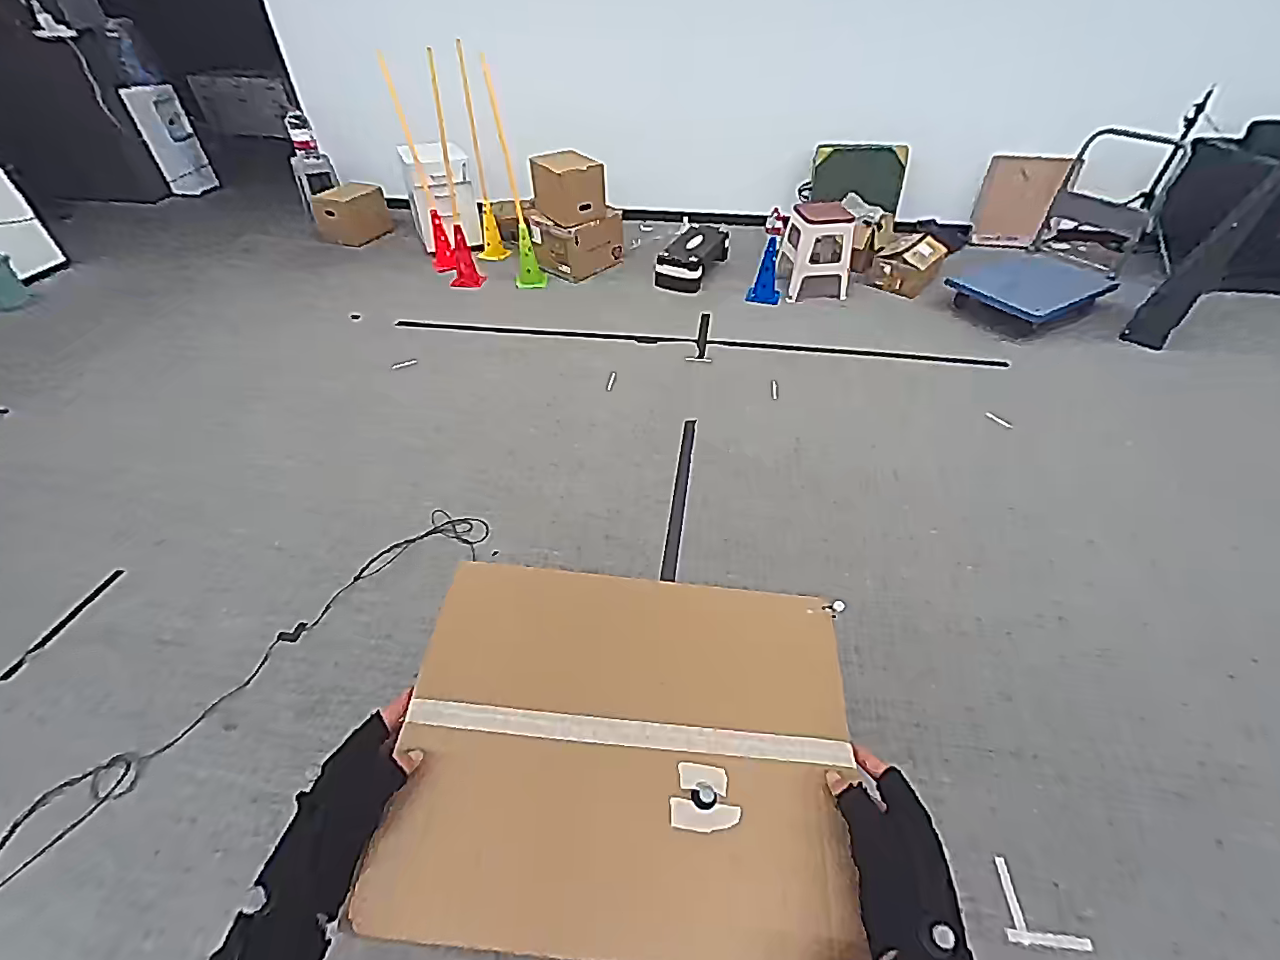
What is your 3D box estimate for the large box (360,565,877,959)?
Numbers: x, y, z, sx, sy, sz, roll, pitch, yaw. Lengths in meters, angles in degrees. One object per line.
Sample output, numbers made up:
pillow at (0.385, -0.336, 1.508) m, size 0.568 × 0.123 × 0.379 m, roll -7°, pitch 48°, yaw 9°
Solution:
large box at (-0.016, 0.322, 0.615) m, size 0.408 × 0.320 × 0.320 m, roll 6°, pitch 52°, yaw 0°
